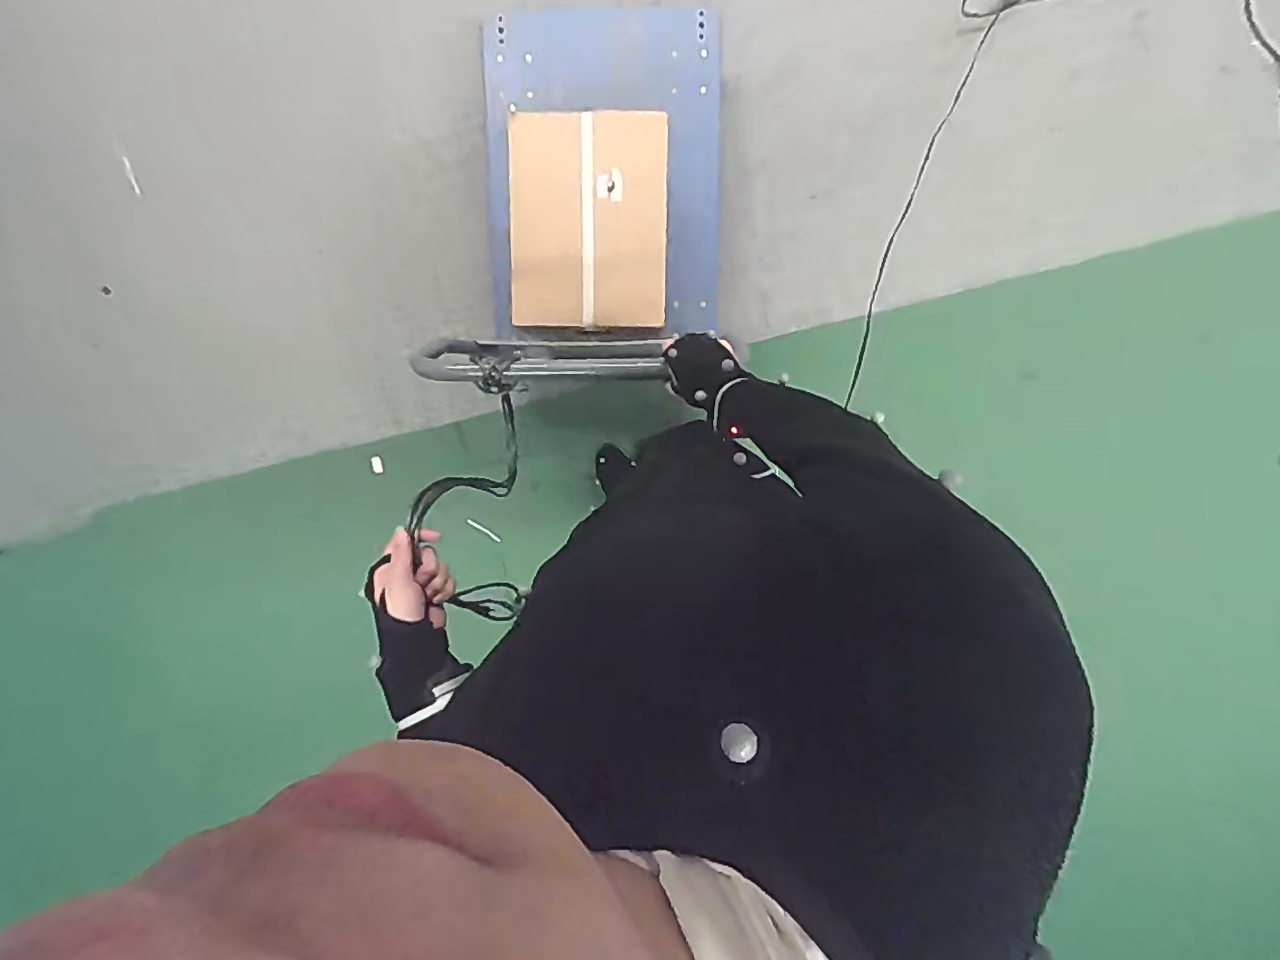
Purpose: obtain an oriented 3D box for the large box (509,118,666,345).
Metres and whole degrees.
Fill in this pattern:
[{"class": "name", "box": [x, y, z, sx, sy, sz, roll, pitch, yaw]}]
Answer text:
[{"class": "large box", "box": [-0.101, -0.530, 1.233, 0.320, 0.320, 0.408, 1, 97, 0]}]
